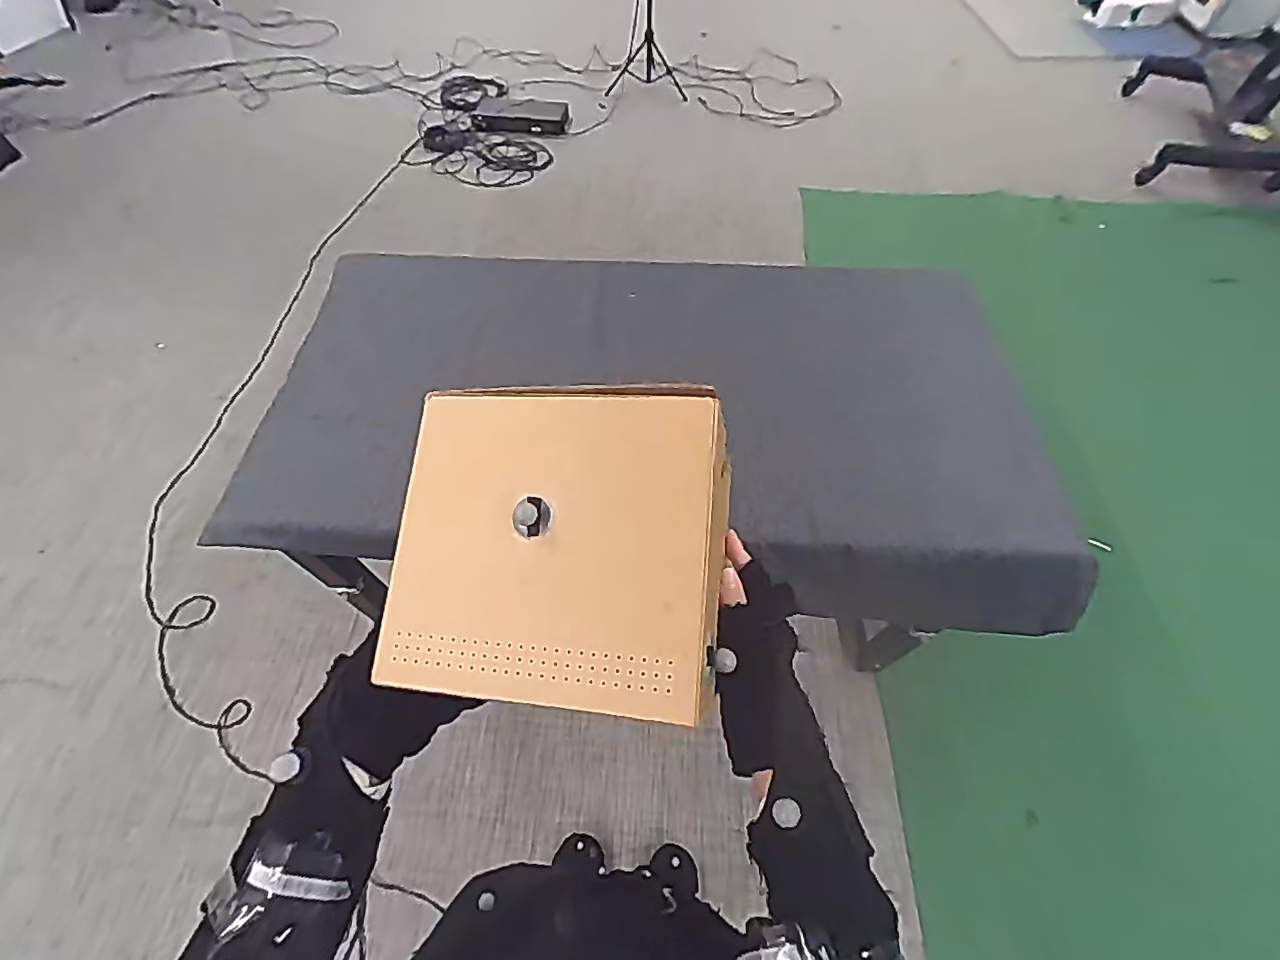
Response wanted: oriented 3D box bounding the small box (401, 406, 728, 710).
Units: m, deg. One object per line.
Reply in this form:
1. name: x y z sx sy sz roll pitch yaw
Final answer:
1. small box: -0.034 0.057 0.379 0.179 0.168 0.176 2 76 12
